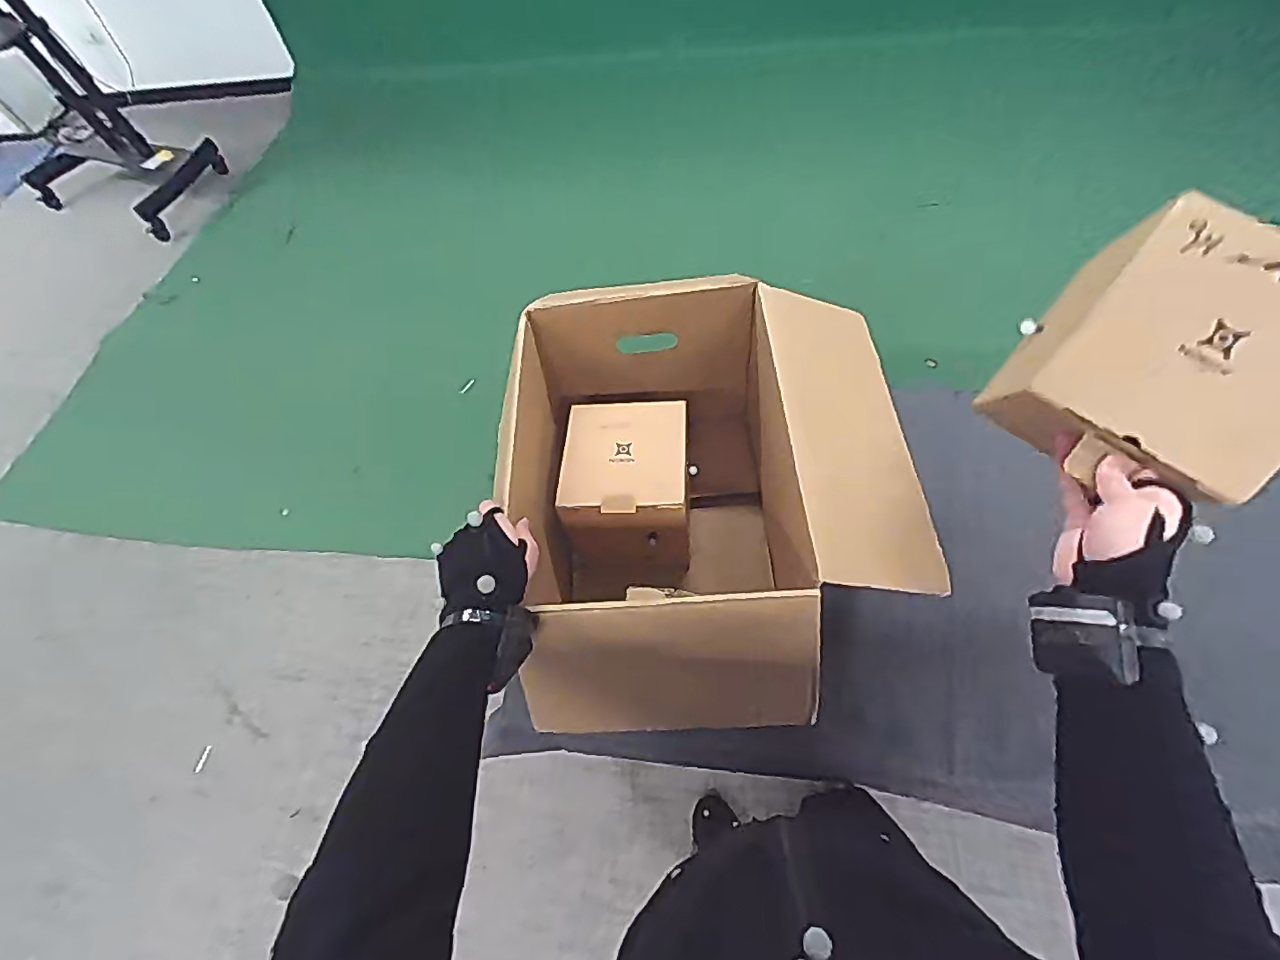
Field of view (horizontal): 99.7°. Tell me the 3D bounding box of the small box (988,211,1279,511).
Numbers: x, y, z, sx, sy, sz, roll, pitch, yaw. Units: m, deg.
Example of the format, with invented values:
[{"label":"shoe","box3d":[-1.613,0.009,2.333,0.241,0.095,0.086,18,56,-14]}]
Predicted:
[{"label":"small box","box3d":[0.452,-0.092,0.486,0.168,0.176,0.179,37,102,15]}]
